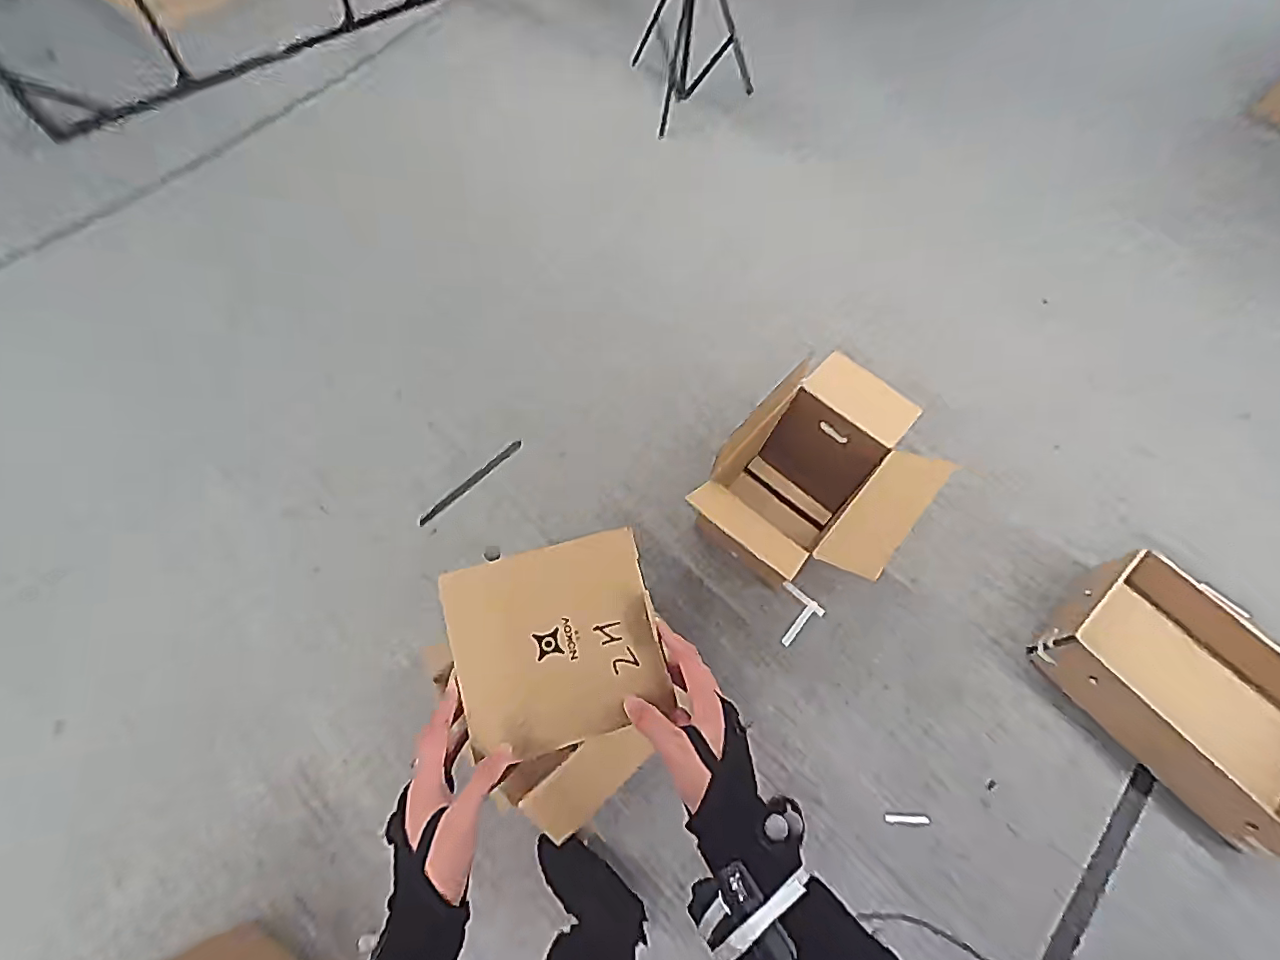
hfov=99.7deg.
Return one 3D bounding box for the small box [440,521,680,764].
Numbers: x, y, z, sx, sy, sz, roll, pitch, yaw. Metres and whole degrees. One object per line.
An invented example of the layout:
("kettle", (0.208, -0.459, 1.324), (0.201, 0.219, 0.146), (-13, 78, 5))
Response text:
("small box", (-0.078, 0.148, 0.532), (0.179, 0.176, 0.168), (-13, 81, -11))
